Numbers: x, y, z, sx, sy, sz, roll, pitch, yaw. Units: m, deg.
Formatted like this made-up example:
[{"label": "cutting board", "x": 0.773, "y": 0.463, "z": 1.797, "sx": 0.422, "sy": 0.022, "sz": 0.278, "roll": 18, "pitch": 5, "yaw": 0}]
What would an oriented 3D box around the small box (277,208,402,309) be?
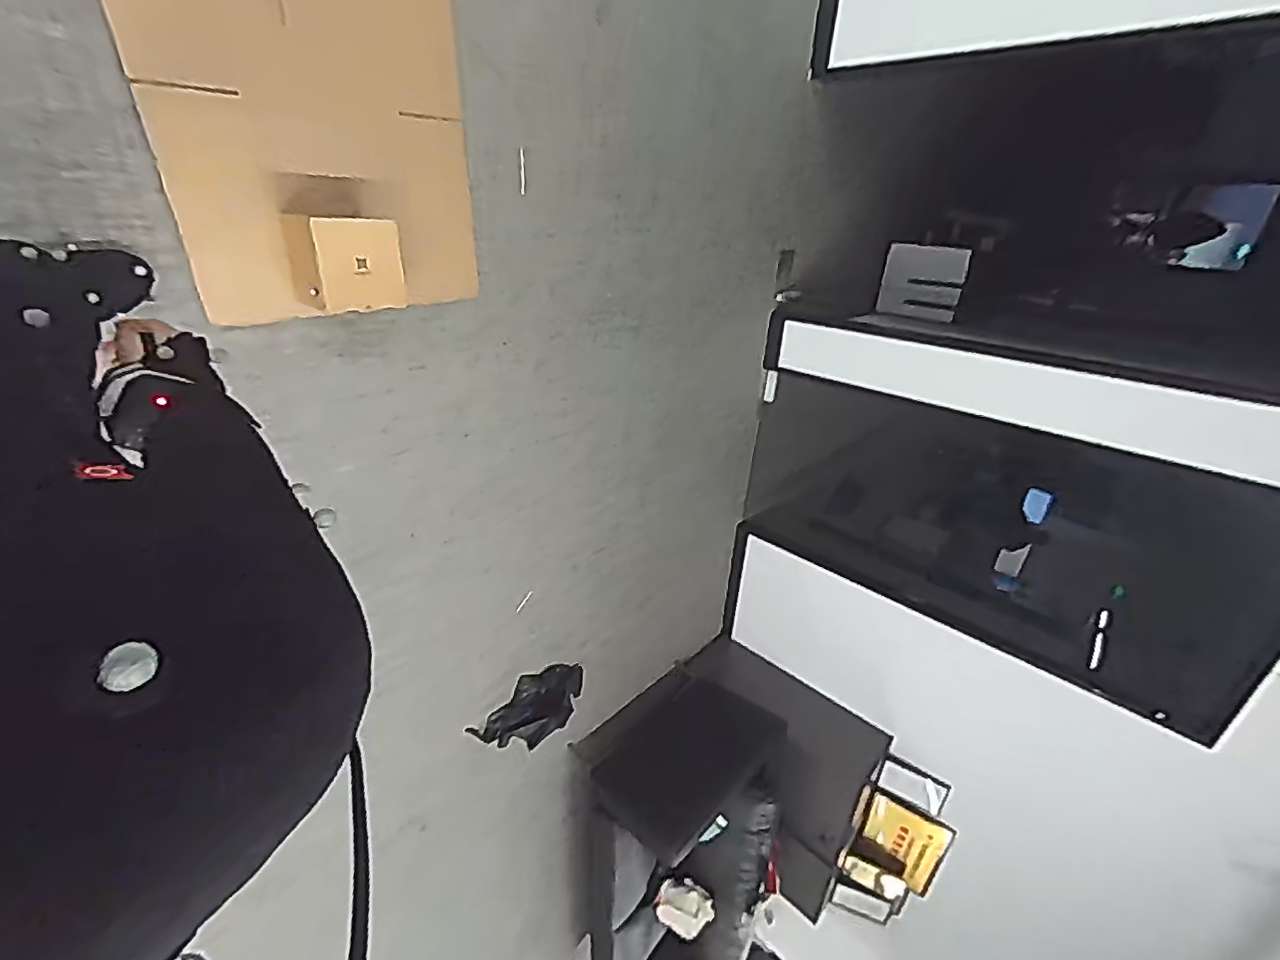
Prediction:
[{"label": "small box", "x": -0.622, "y": -0.463, "z": 1.122, "sx": 0.168, "sy": 0.176, "sz": 0.179, "roll": -23, "pitch": 128, "yaw": -43}]
